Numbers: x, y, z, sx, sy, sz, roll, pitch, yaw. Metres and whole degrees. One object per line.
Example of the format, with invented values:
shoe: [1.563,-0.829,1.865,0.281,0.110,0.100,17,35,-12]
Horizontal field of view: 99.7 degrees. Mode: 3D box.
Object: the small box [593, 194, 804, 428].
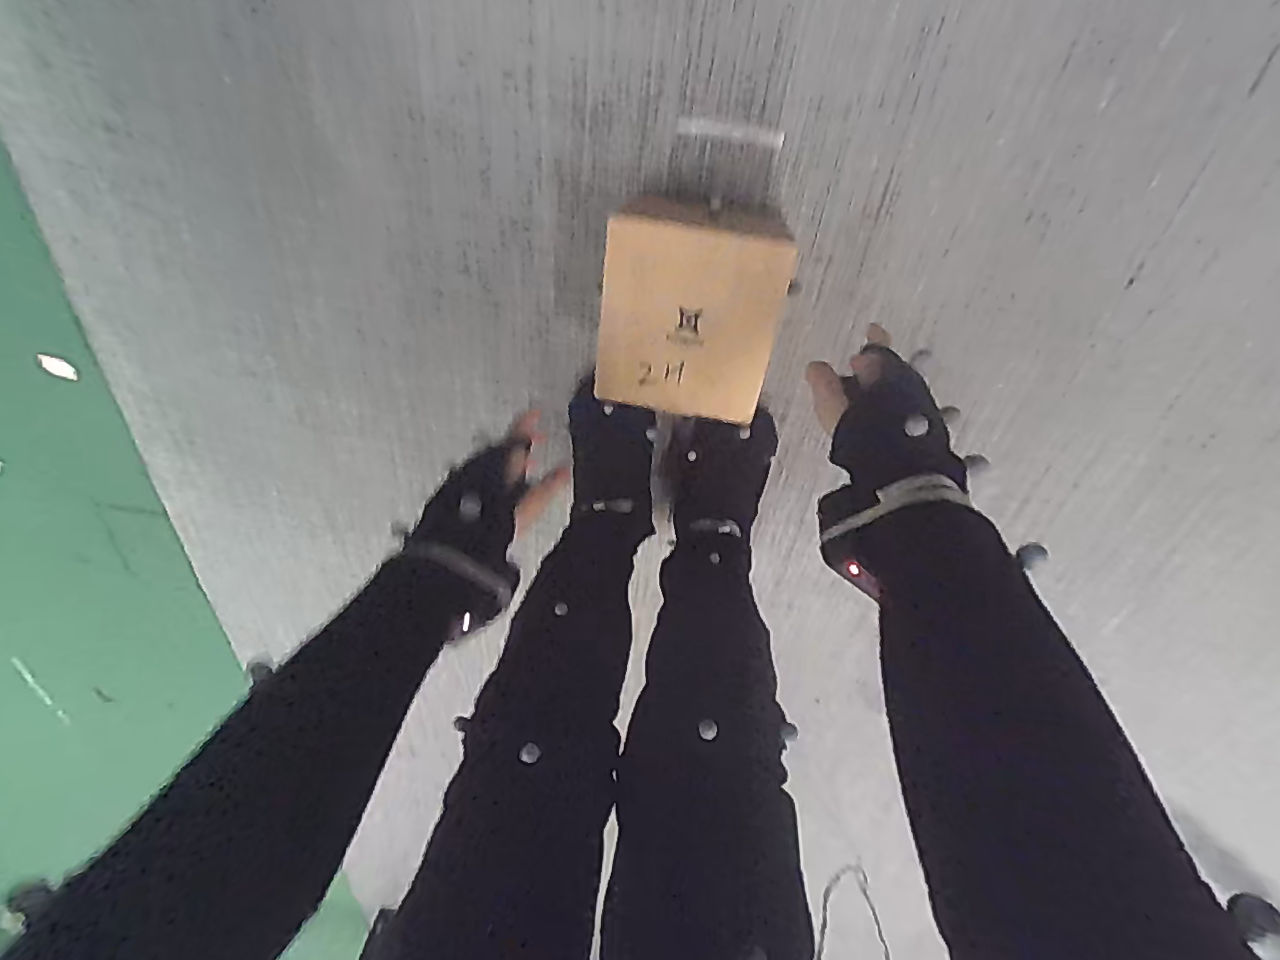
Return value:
small box: [0.054,-0.181,0.559,0.168,0.176,0.179,11,126,2]
